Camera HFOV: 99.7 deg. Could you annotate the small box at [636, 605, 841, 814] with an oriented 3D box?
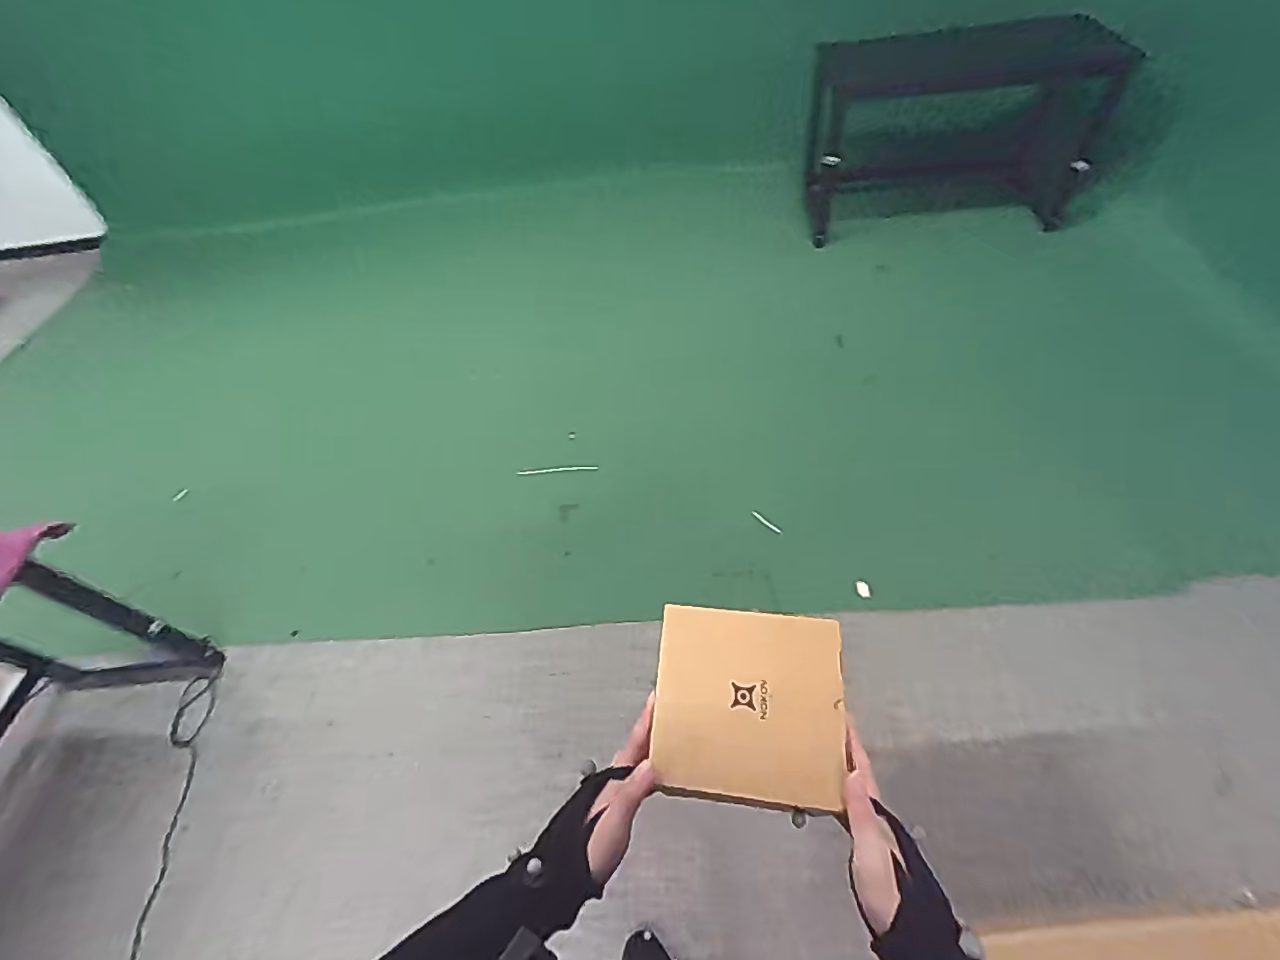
[{"bbox_3d":[0.098,0.243,0.566,0.179,0.176,0.168,3,58,7],"label":"small box"}]
